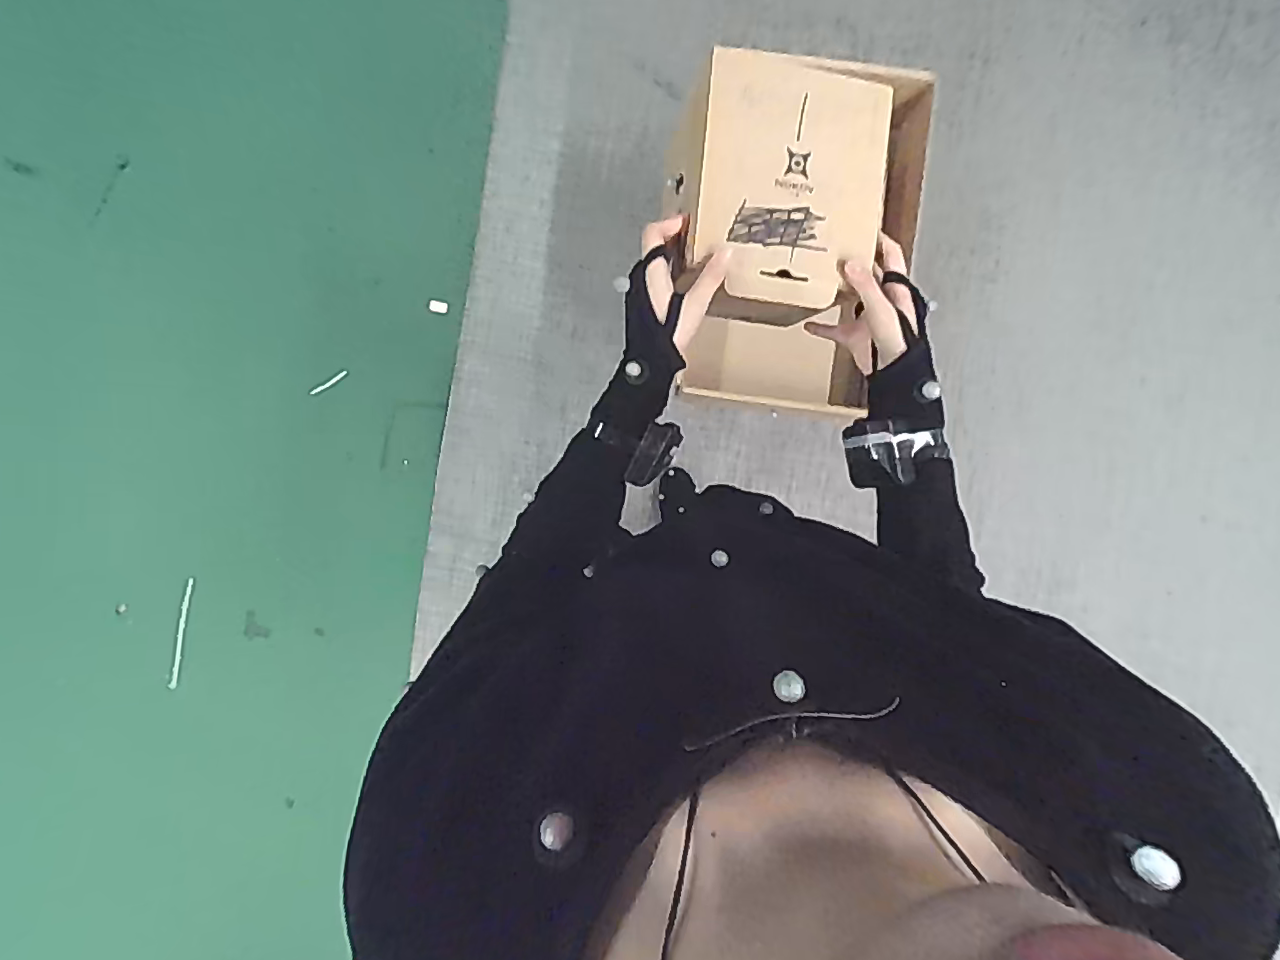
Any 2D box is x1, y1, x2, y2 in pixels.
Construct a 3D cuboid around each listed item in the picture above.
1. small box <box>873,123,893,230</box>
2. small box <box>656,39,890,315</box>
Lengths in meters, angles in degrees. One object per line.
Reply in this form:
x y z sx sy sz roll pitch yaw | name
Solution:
0.345 -0.533 1.007 0.168 0.176 0.179 4 94 0 | small box
0.114 -0.272 0.534 0.168 0.176 0.179 4 94 -10 | small box
